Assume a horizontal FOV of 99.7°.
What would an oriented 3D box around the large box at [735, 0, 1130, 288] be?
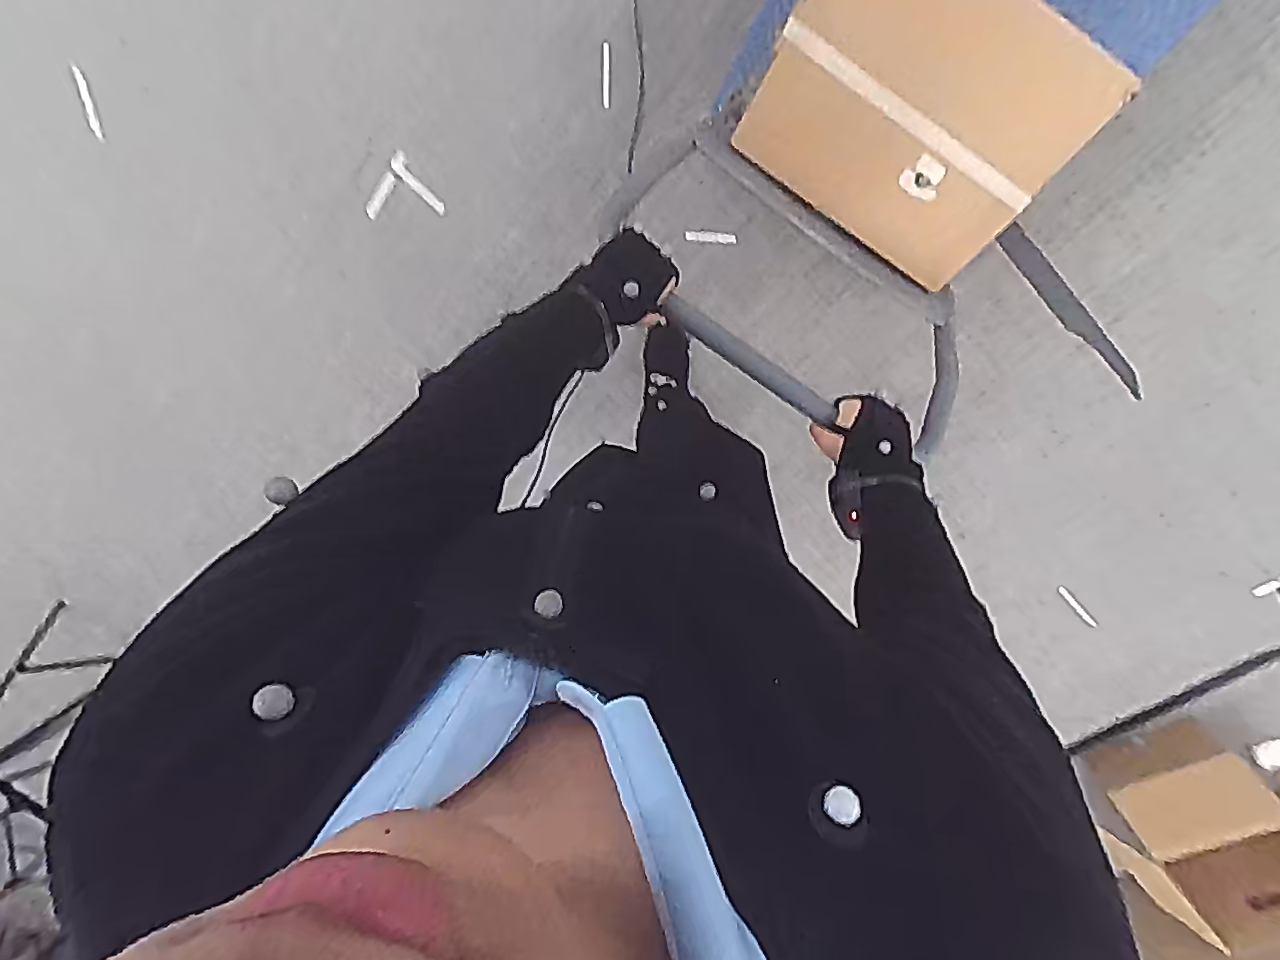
[{"bbox_3d":[0.422,-0.592,0.865,0.408,0.320,0.320,33,134,-5],"label":"large box"}]
